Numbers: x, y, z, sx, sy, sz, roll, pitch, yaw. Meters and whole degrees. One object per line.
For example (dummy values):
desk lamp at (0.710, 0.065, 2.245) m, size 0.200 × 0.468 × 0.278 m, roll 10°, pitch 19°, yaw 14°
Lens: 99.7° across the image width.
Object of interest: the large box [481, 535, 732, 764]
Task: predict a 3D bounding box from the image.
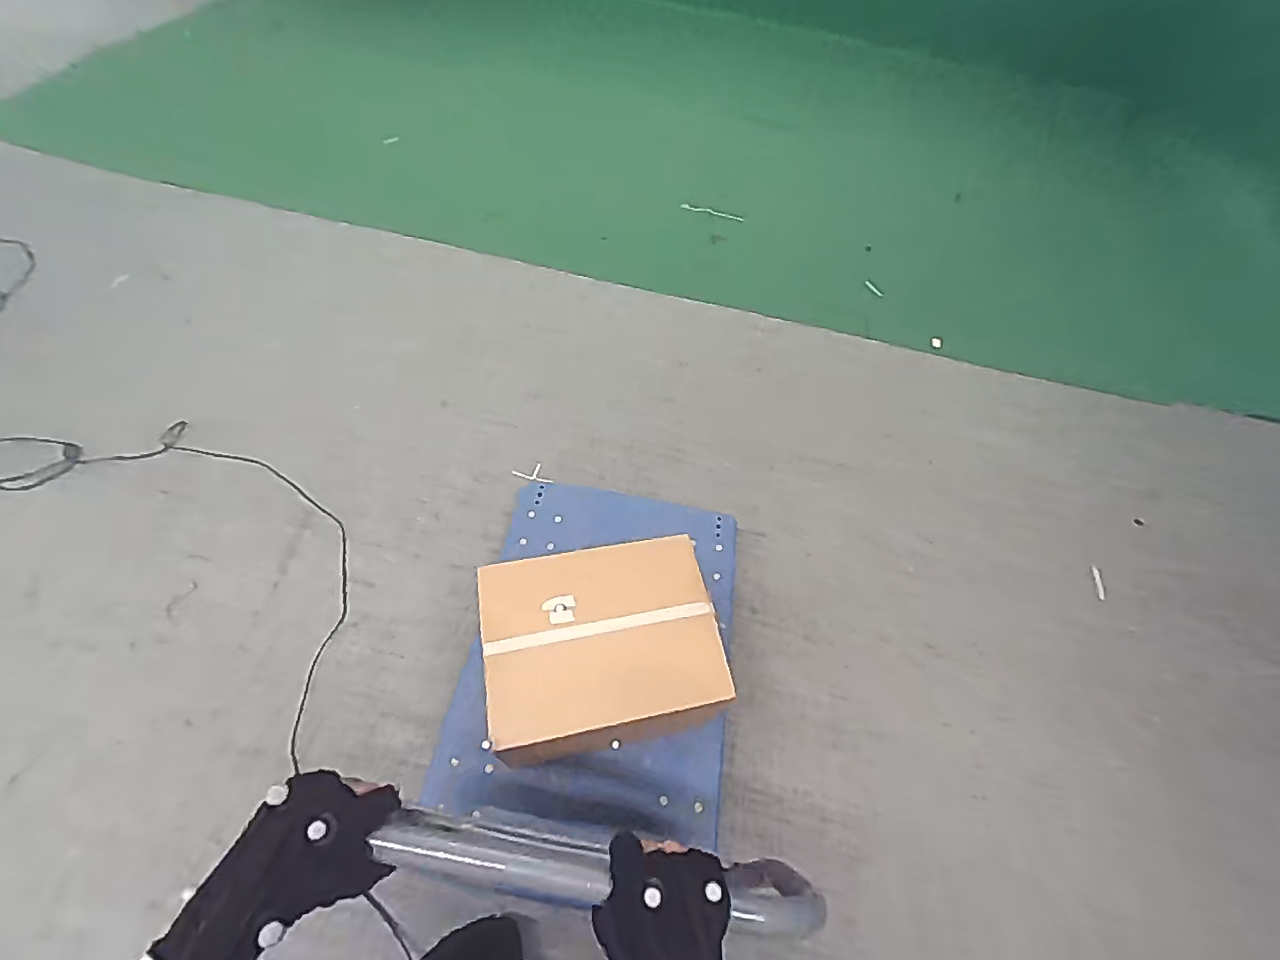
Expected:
large box at (-0.077, 0.344, 1.080) m, size 0.408 × 0.320 × 0.320 m, roll -9°, pitch 58°, yaw -10°
